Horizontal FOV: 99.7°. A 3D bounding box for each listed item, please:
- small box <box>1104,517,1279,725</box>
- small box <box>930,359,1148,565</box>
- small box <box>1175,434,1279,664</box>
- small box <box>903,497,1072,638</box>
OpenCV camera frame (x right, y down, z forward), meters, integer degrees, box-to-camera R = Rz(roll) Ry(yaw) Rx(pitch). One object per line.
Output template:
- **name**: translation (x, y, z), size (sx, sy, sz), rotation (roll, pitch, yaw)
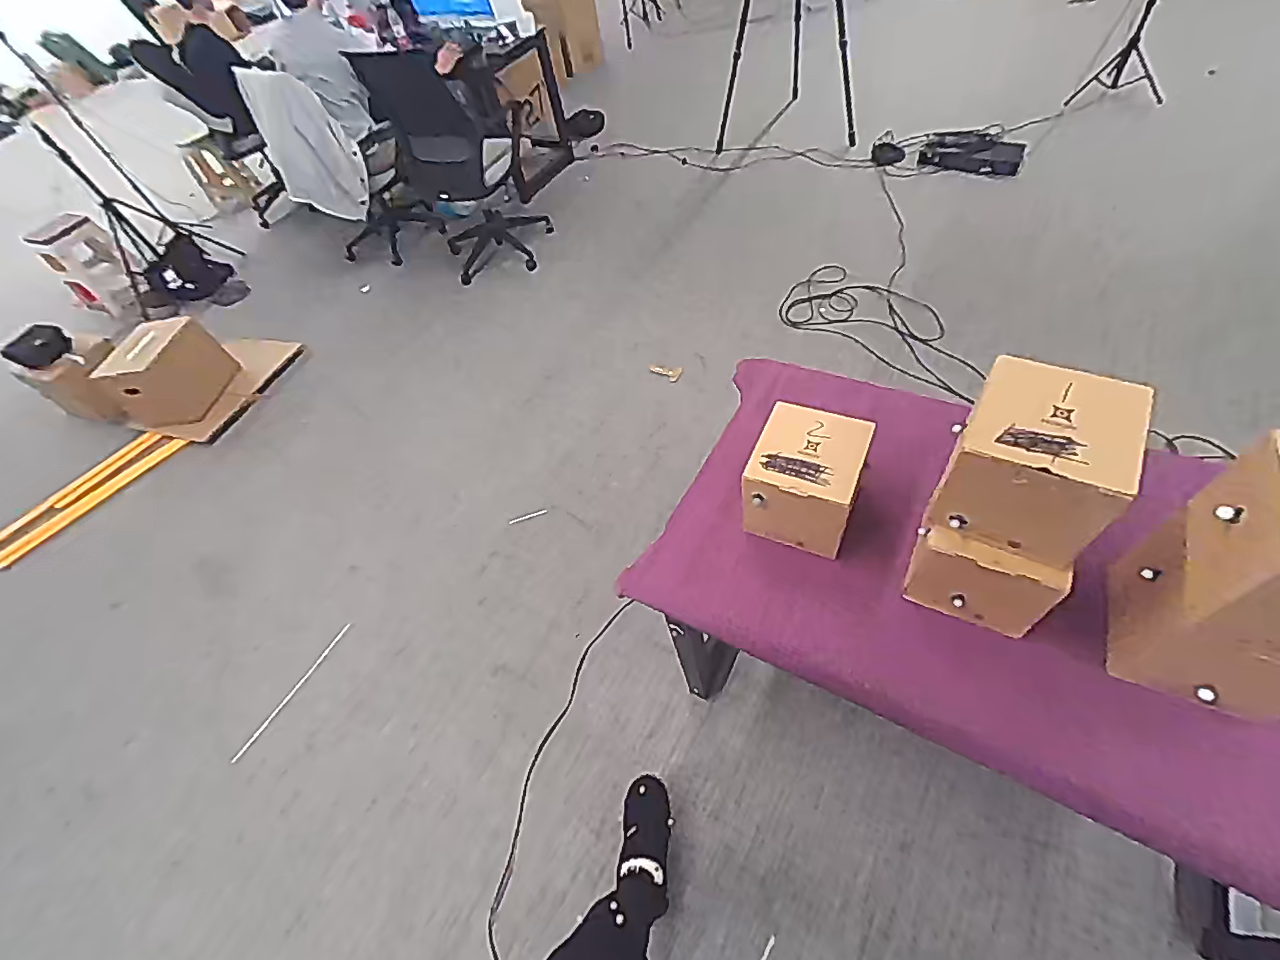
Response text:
- **small box**: translation (0.738, 0.183, 0.697), size (0.168, 0.176, 0.179), rotation (17, 58, 23)
- **small box**: translation (0.494, -0.020, 0.693), size (0.168, 0.176, 0.179), rotation (22, 60, 25)
- **small box**: translation (0.714, 0.084, 0.568), size (0.168, 0.176, 0.179), rotation (16, 57, 23)
- **small box**: translation (0.510, 0.103, 0.805), size (0.168, 0.176, 0.179), rotation (18, 60, 23)
